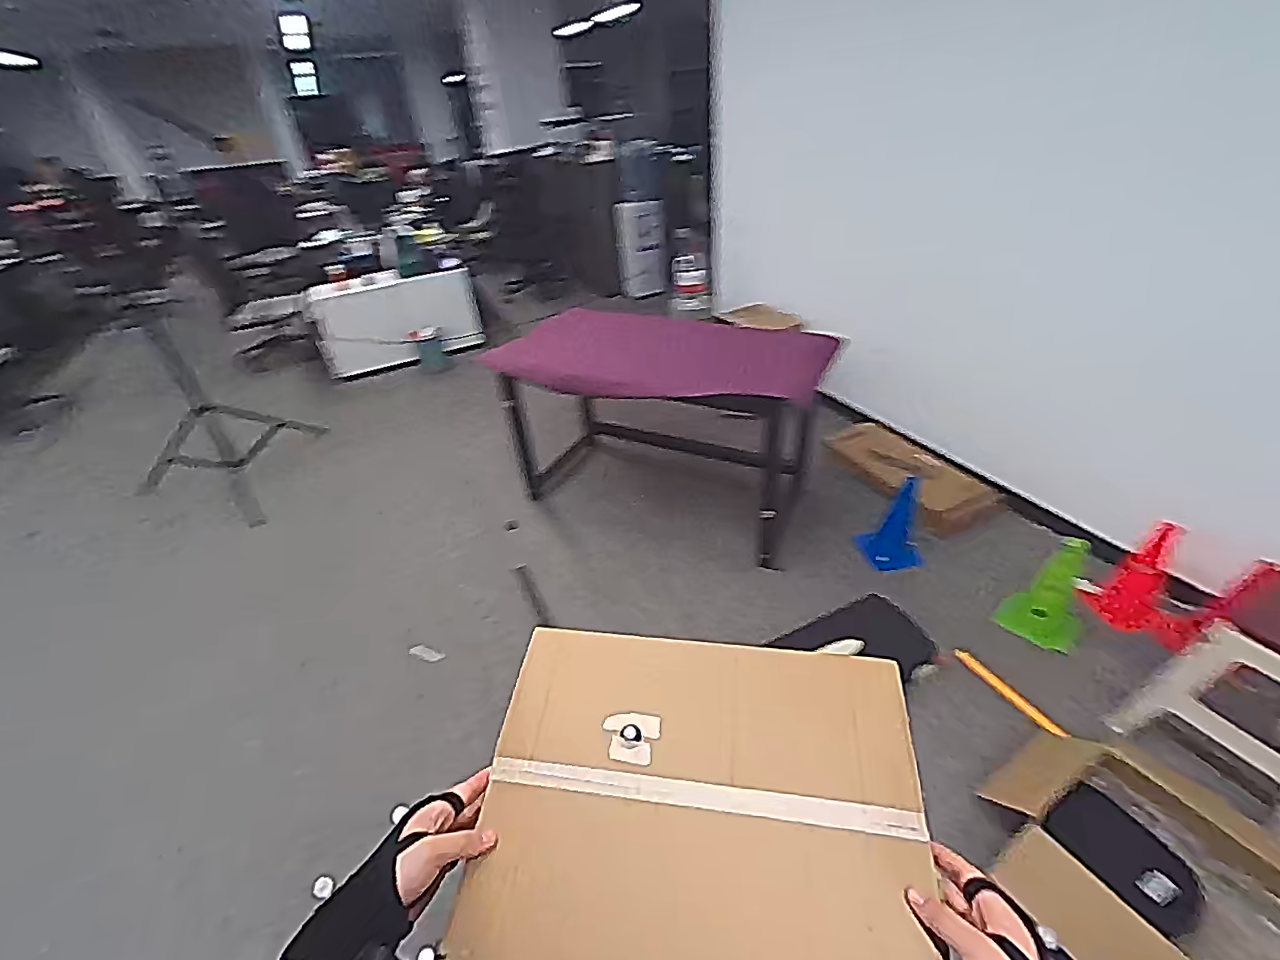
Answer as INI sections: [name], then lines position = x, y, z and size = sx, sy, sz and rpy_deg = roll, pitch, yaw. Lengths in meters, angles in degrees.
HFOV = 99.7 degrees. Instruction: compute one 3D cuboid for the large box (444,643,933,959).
[large box]
position = 0.063, 0.407, 0.624
size = 0.408, 0.320, 0.320
rpy_deg = 1, 47, 10
